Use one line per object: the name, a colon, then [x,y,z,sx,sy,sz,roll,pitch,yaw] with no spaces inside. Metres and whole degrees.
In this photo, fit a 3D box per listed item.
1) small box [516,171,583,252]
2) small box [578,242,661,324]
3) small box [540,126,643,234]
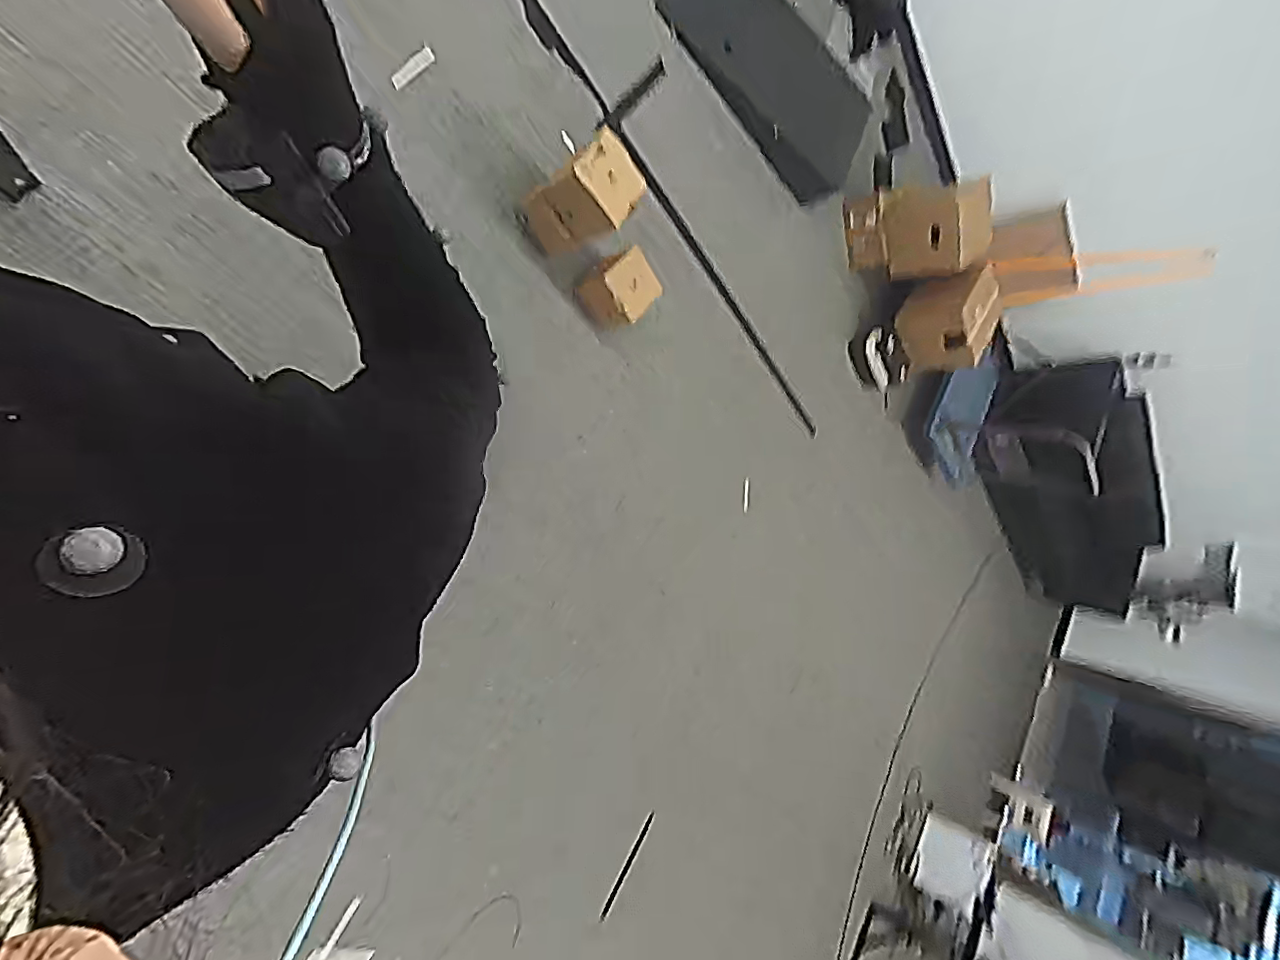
small box: [-0.233,-0.794,1.567,0.168,0.176,0.179,47,66,-33]
small box: [-0.073,-0.620,1.722,0.179,0.176,0.168,-54,125,-22]
small box: [-0.130,-0.784,1.439,0.179,0.176,0.168,42,69,-35]
